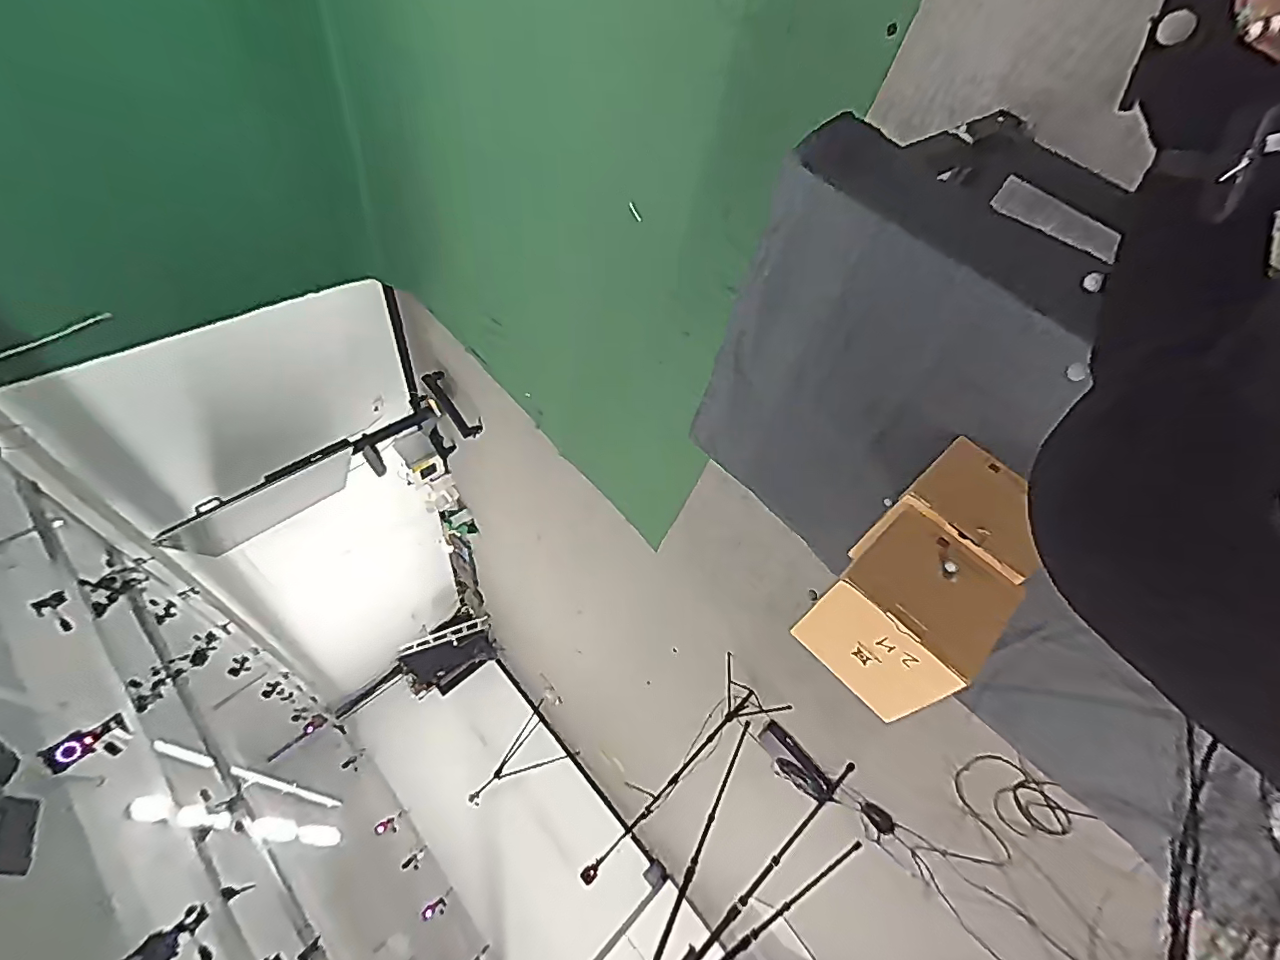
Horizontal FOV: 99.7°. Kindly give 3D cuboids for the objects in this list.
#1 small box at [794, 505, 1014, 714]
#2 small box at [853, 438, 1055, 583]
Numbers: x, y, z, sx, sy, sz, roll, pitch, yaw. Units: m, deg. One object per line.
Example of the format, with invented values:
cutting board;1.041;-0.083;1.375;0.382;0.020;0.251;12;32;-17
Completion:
small box;0.342;0.168;0.712;0.168;0.176;0.179;43;147;21
small box;0.454;0.071;0.785;0.168;0.176;0.179;44;150;20
